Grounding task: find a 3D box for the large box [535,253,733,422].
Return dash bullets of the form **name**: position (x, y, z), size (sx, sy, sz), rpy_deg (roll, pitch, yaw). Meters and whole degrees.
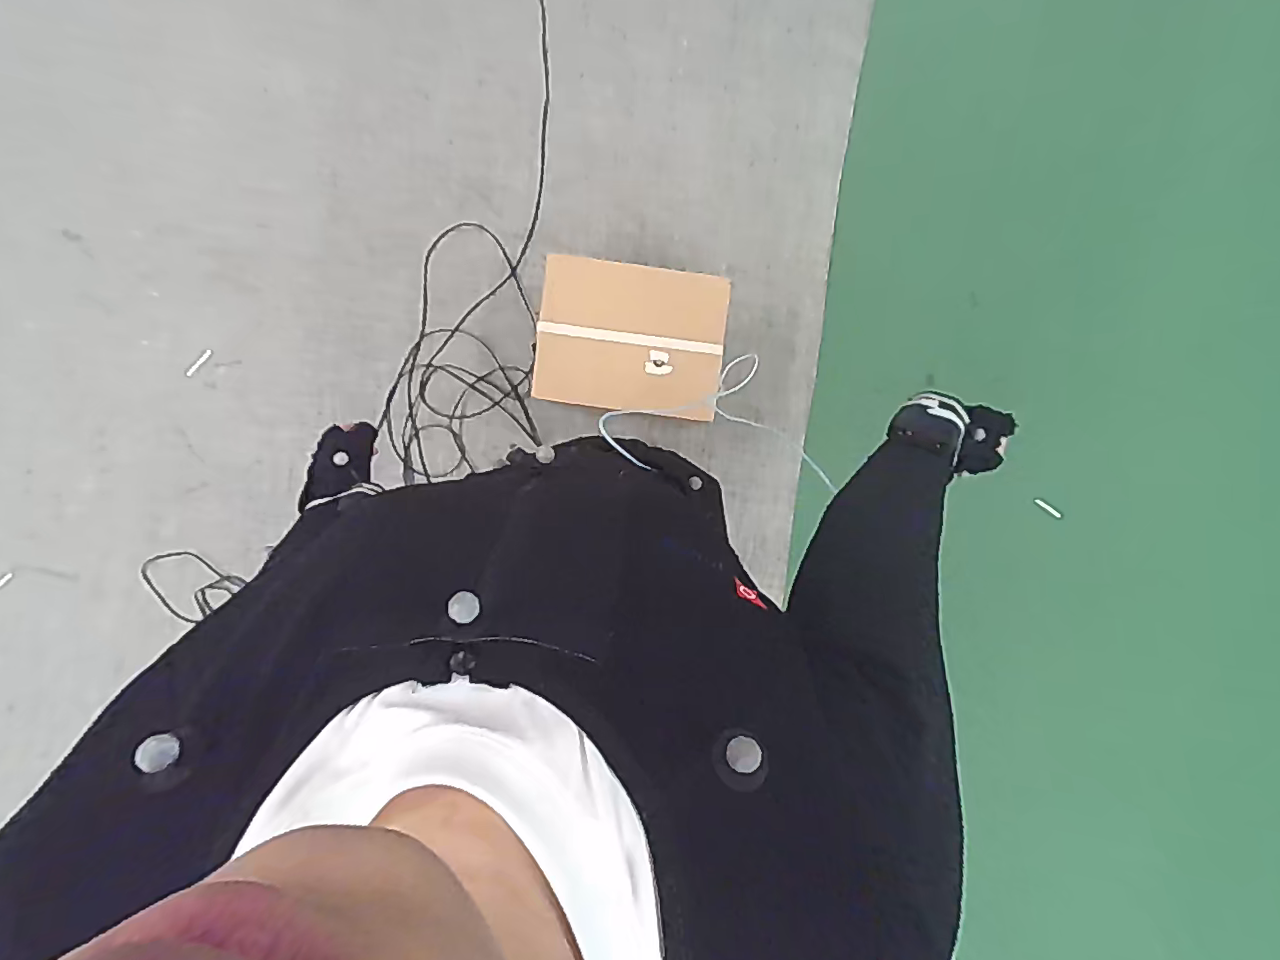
- **large box**: position (-0.019, -0.322, 1.315), size (0.408, 0.320, 0.320), rpy_deg (8, 94, -2)
